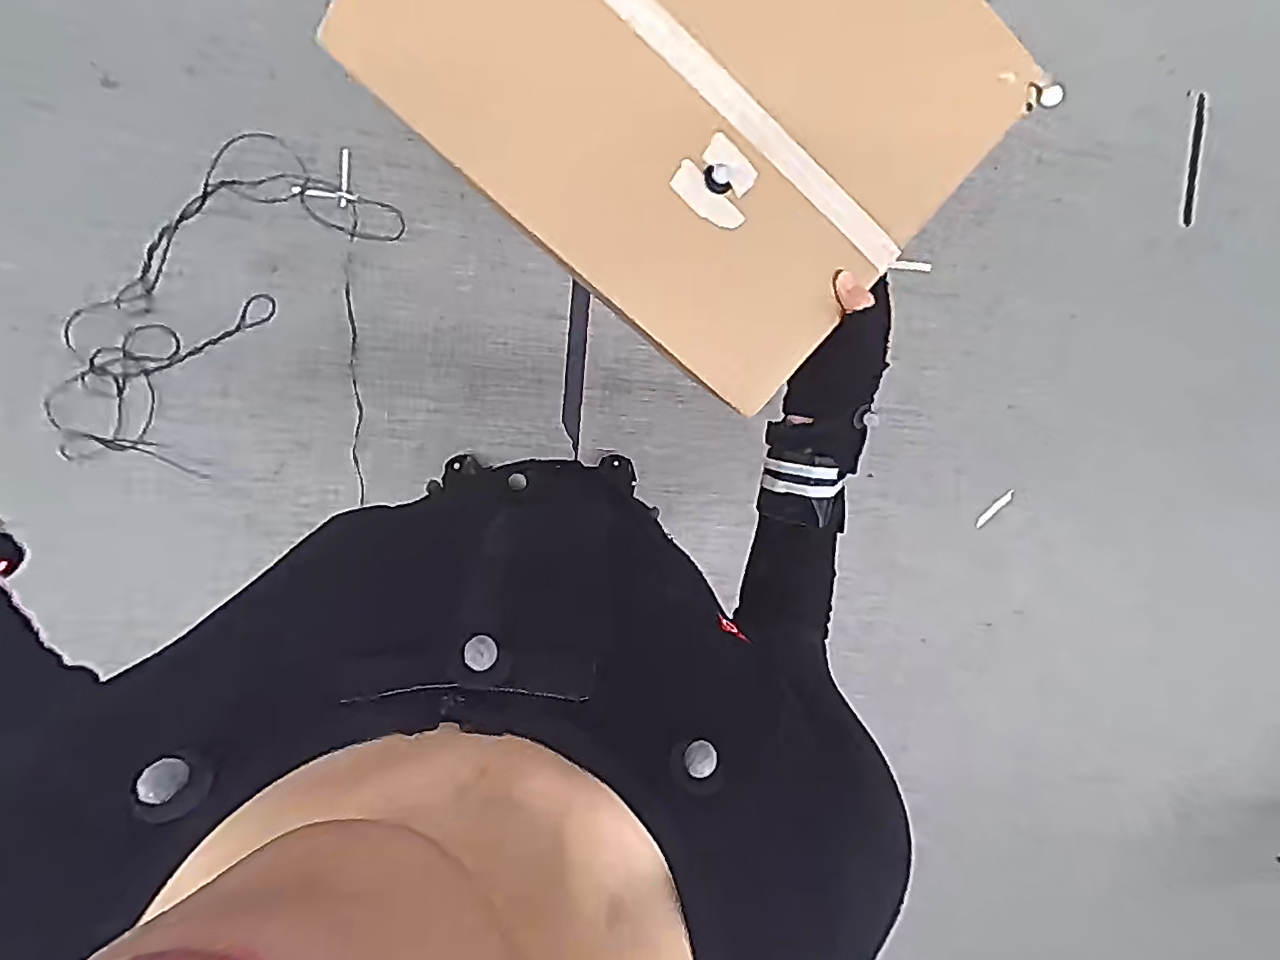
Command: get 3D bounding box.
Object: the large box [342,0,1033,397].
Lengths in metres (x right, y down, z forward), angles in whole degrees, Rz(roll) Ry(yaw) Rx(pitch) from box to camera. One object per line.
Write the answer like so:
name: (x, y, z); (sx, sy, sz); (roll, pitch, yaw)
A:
large box: (0.032, -0.336, 0.527); (0.408, 0.320, 0.320); (38, 102, -11)
